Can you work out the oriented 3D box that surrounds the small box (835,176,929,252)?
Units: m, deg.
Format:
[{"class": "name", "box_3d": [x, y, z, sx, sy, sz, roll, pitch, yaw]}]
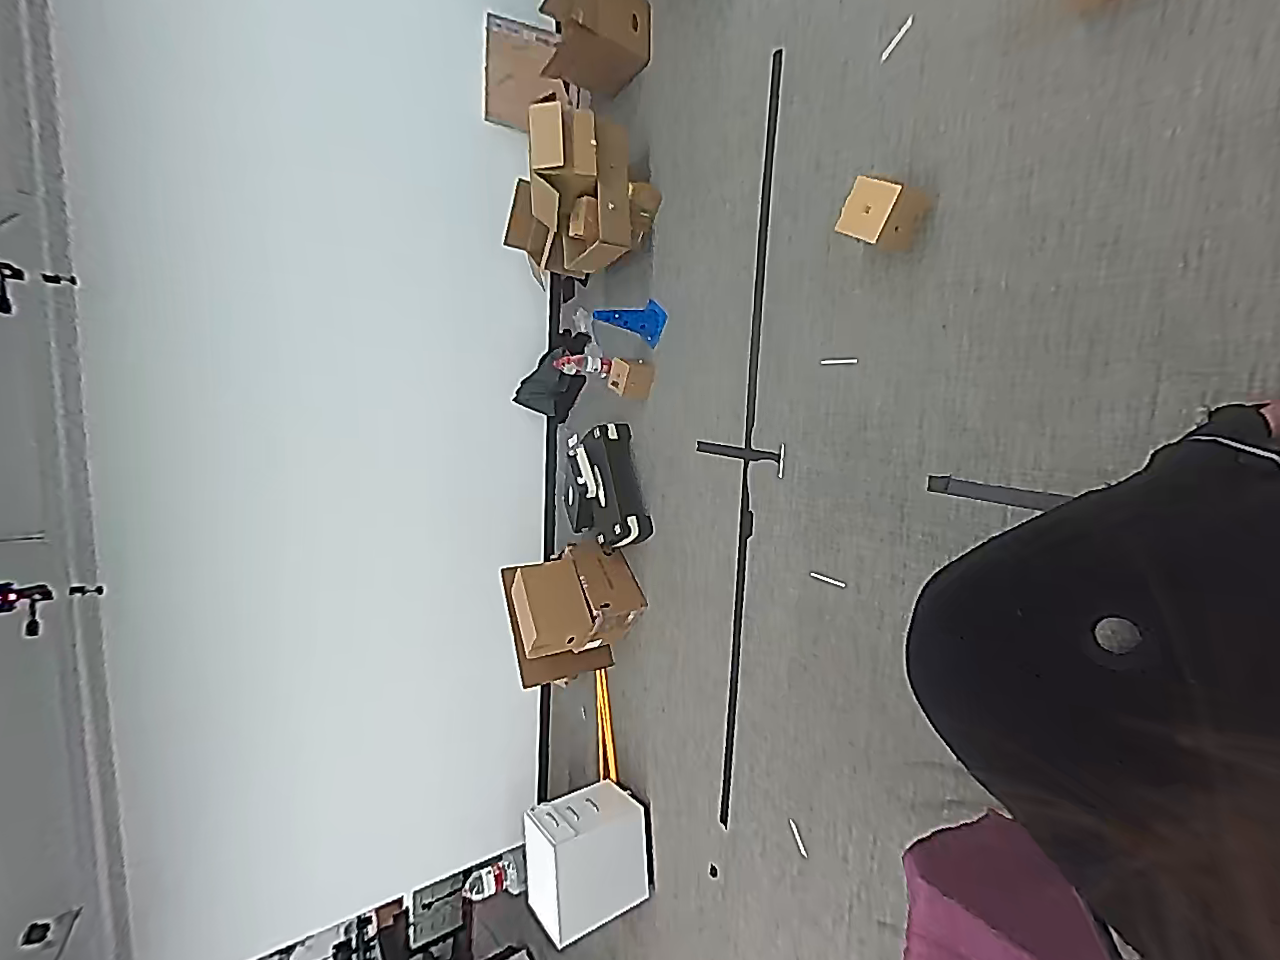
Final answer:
[{"class": "small box", "box_3d": [0.761, -0.830, 1.697, 0.179, 0.176, 0.168, 50, 131, 43]}]
